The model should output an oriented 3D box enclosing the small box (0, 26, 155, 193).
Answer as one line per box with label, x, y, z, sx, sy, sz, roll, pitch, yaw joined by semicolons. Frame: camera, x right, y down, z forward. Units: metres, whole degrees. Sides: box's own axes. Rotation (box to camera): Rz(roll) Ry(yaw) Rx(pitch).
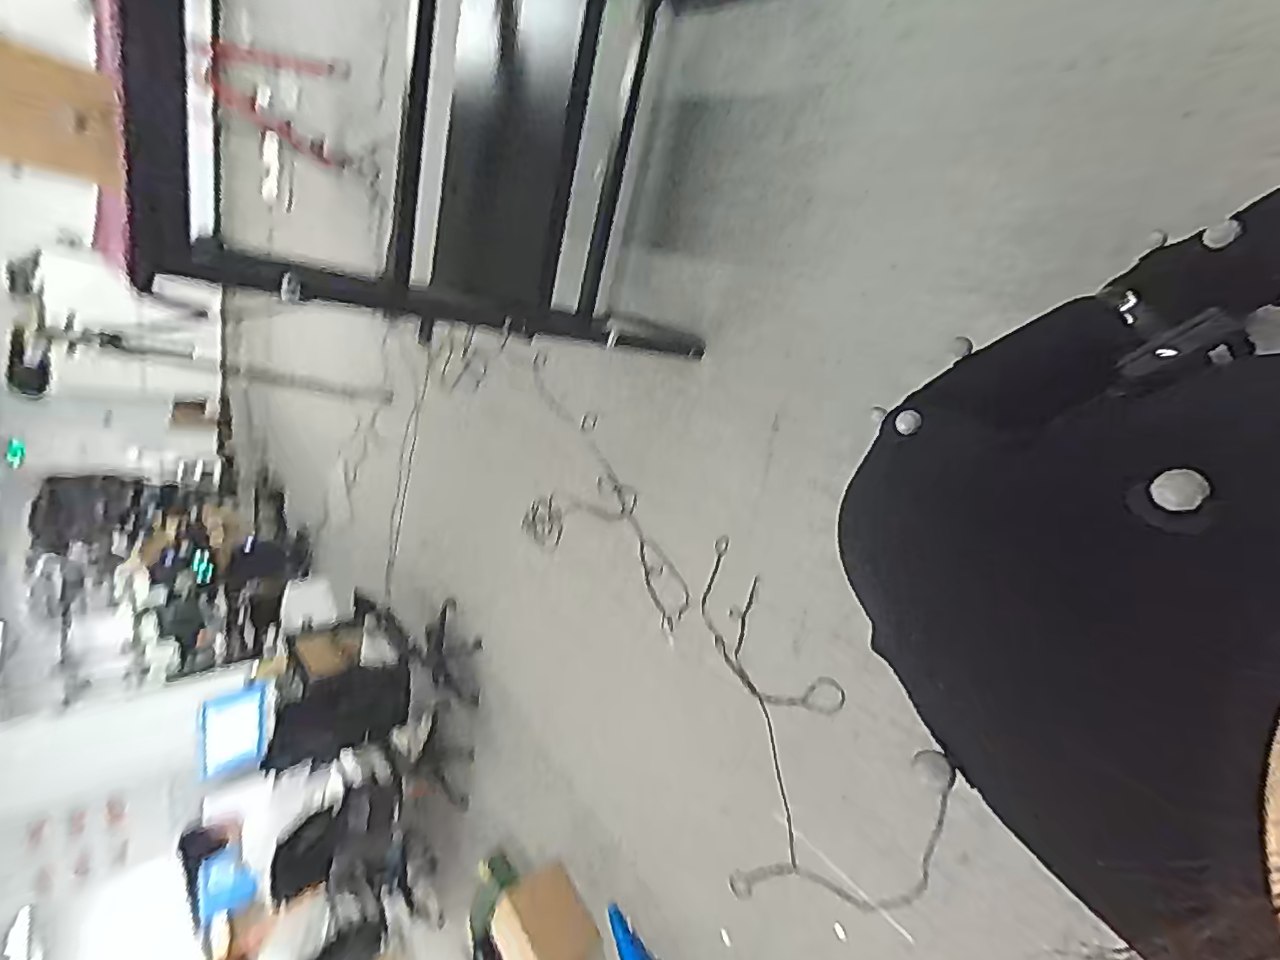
small box;-0.870;-0.561;0.839;0.179;0.176;0.168;31;116;41
